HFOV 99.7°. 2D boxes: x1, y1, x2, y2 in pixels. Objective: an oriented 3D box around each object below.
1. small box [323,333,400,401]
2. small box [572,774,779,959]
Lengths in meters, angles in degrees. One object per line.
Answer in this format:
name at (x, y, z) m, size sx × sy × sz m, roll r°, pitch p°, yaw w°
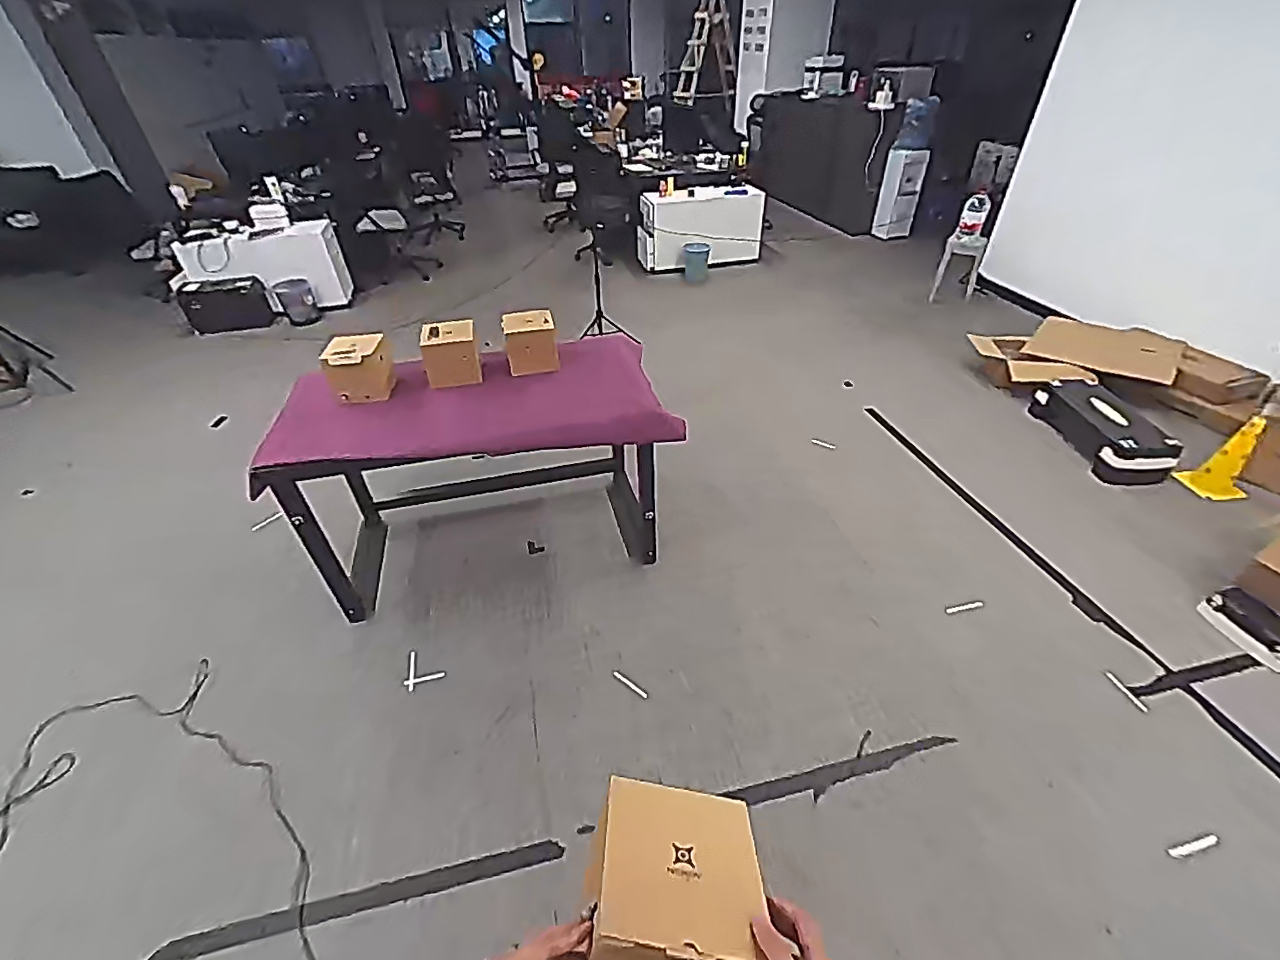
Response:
small box at (-0.938, -0.380, 1.841) m, size 0.168 × 0.176 × 0.179 m, roll -5°, pitch 39°, yaw -5°
small box at (0.024, 0.456, 0.566) m, size 0.168 × 0.176 × 0.179 m, roll 13°, pitch 16°, yaw -4°
